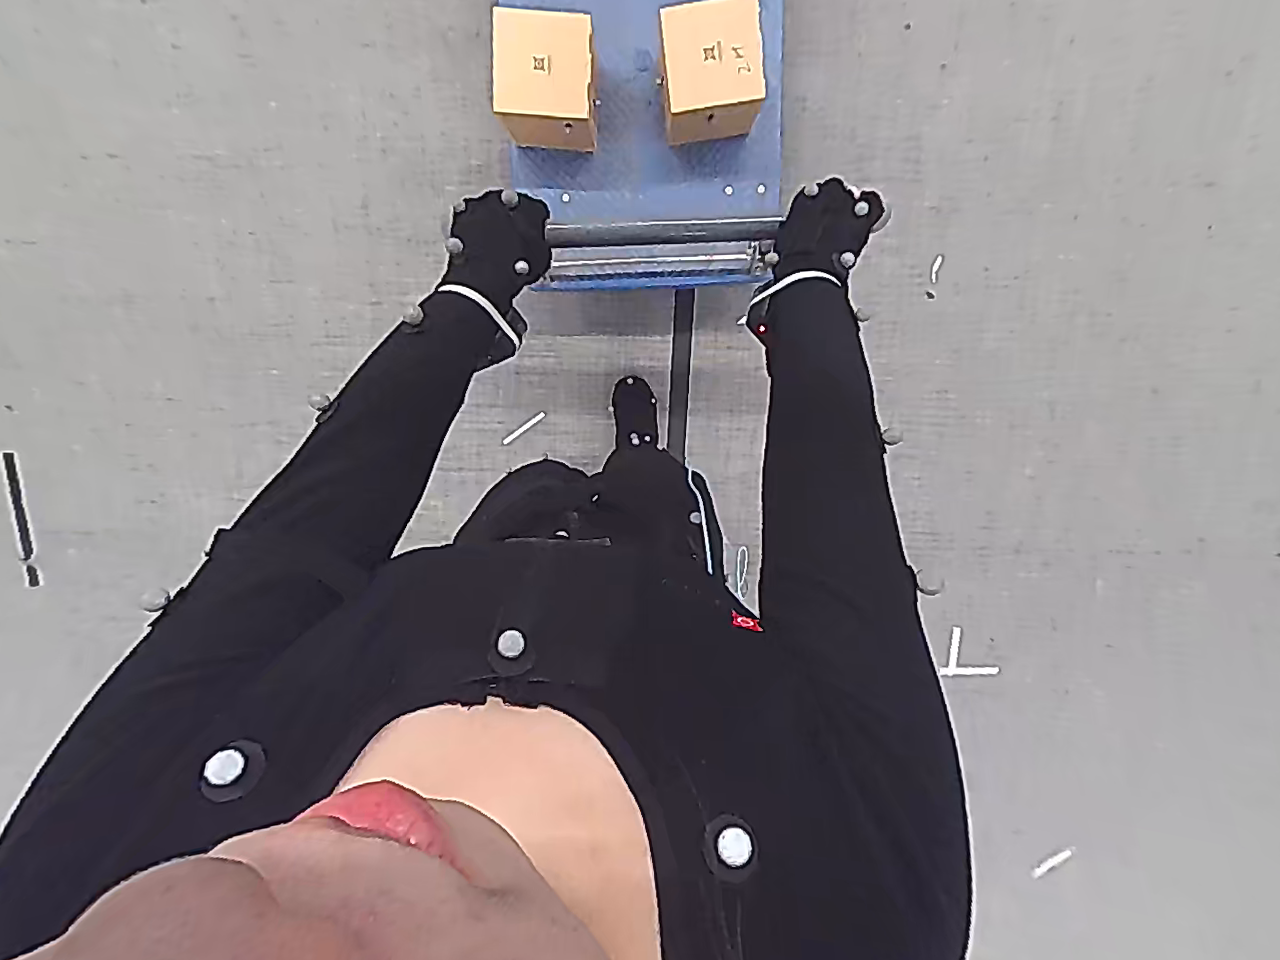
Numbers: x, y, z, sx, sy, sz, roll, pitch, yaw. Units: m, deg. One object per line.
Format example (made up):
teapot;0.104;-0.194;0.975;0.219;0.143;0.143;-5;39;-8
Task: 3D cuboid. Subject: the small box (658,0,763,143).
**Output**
small box;0.130;-0.775;1.041;0.179;0.176;0.168;-7;104;2

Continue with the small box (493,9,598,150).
small box;-0.177;-0.763;1.047;0.179;0.176;0.168;3;104;-2
